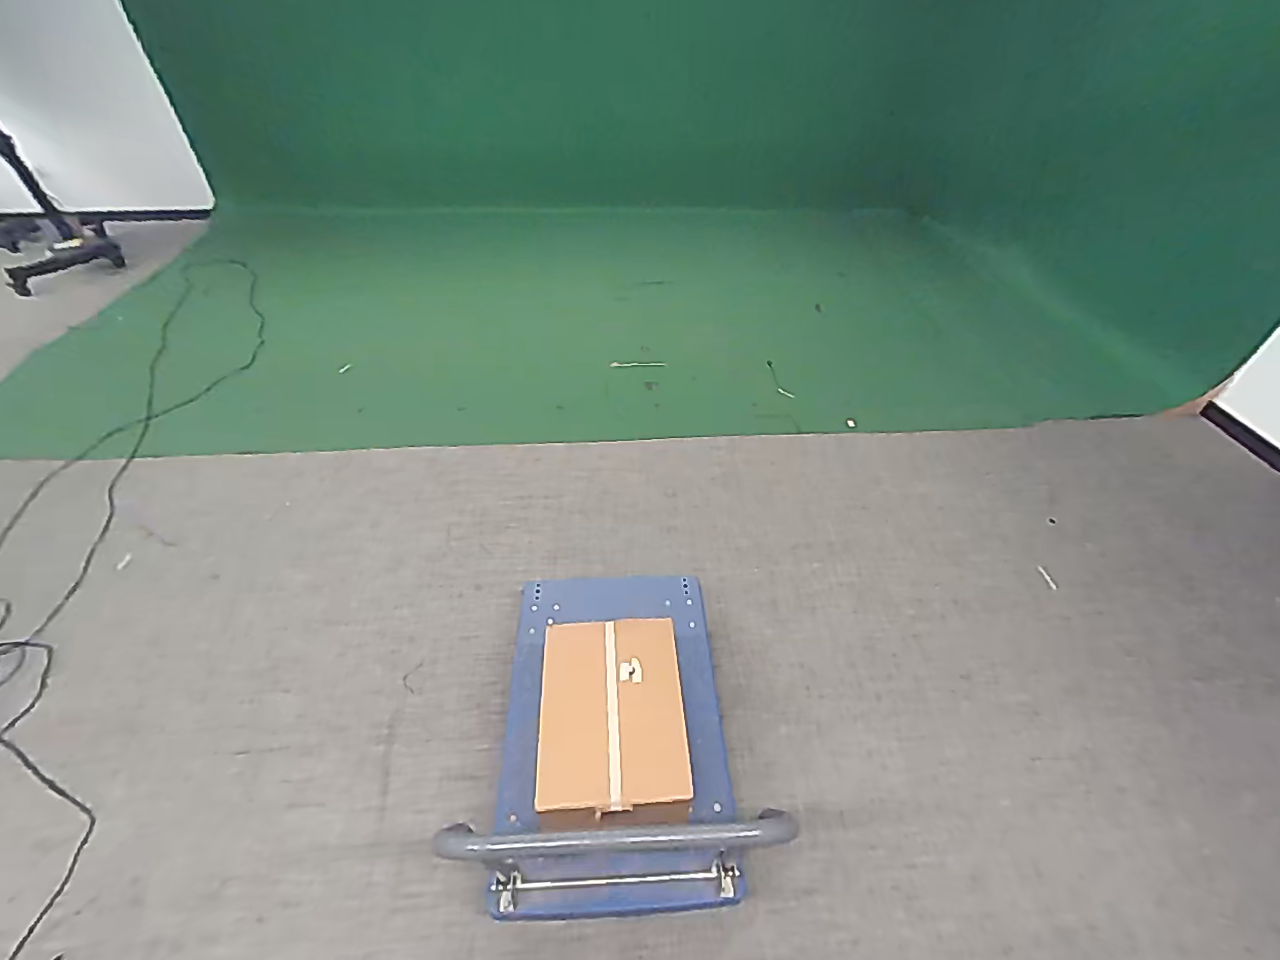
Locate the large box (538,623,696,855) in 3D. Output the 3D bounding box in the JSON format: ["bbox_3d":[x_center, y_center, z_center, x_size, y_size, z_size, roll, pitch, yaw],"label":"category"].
[{"bbox_3d":[-0.060,0.607,1.286,0.320,0.320,0.408,-2,43,-4],"label":"large box"}]
